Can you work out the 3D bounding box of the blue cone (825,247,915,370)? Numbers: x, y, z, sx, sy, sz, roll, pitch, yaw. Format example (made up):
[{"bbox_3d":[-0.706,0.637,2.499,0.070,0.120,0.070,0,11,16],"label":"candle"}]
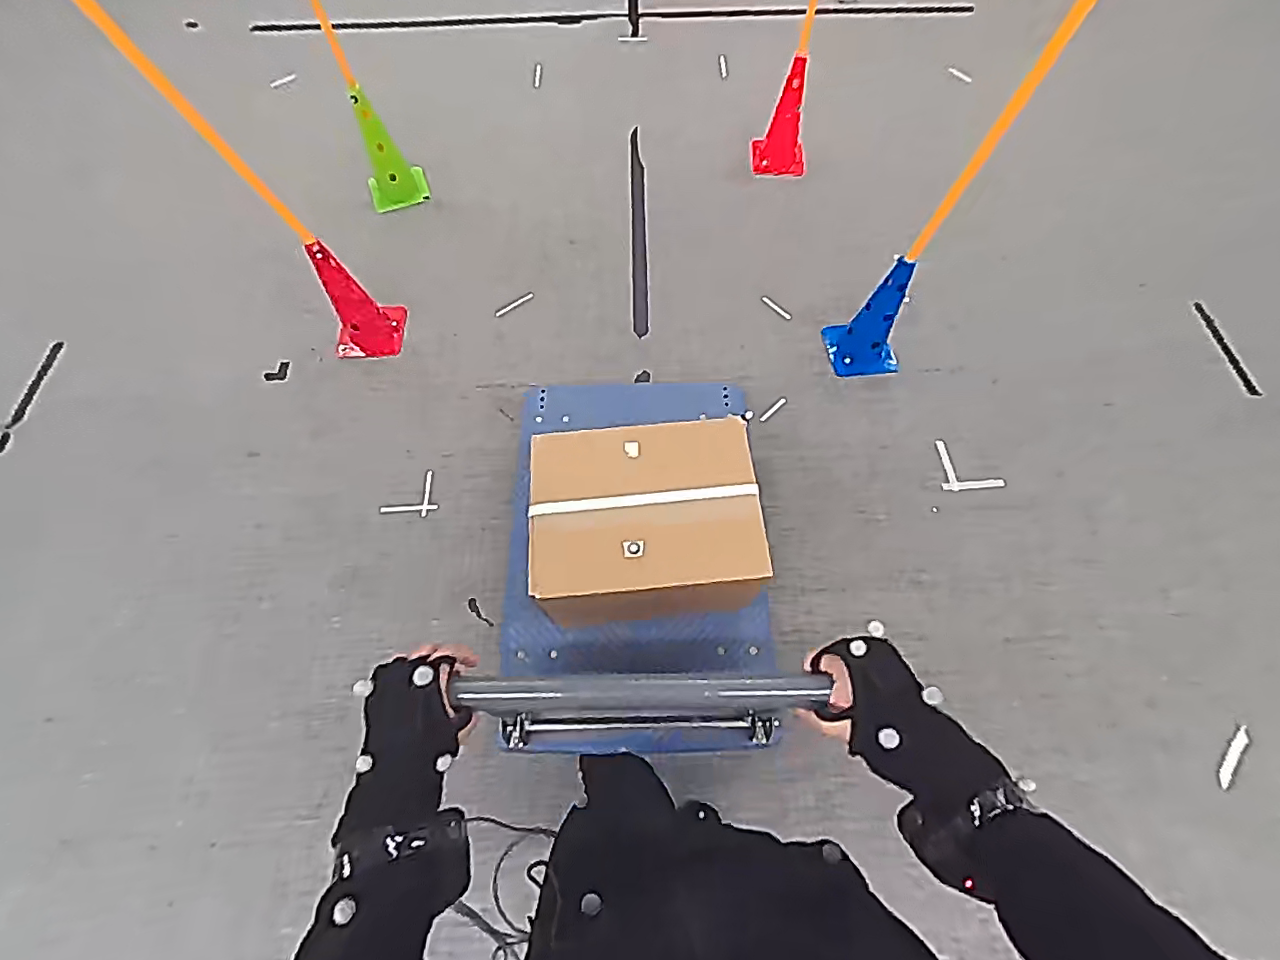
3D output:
[{"bbox_3d":[0.690,-0.495,1.545,0.193,0.380,0.192,-5,64,-3],"label":"blue cone"}]

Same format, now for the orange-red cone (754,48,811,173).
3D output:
[{"bbox_3d":[0.537,-1.316,1.909,0.199,0.360,0.198,5,66,1],"label":"orange-red cone"}]
